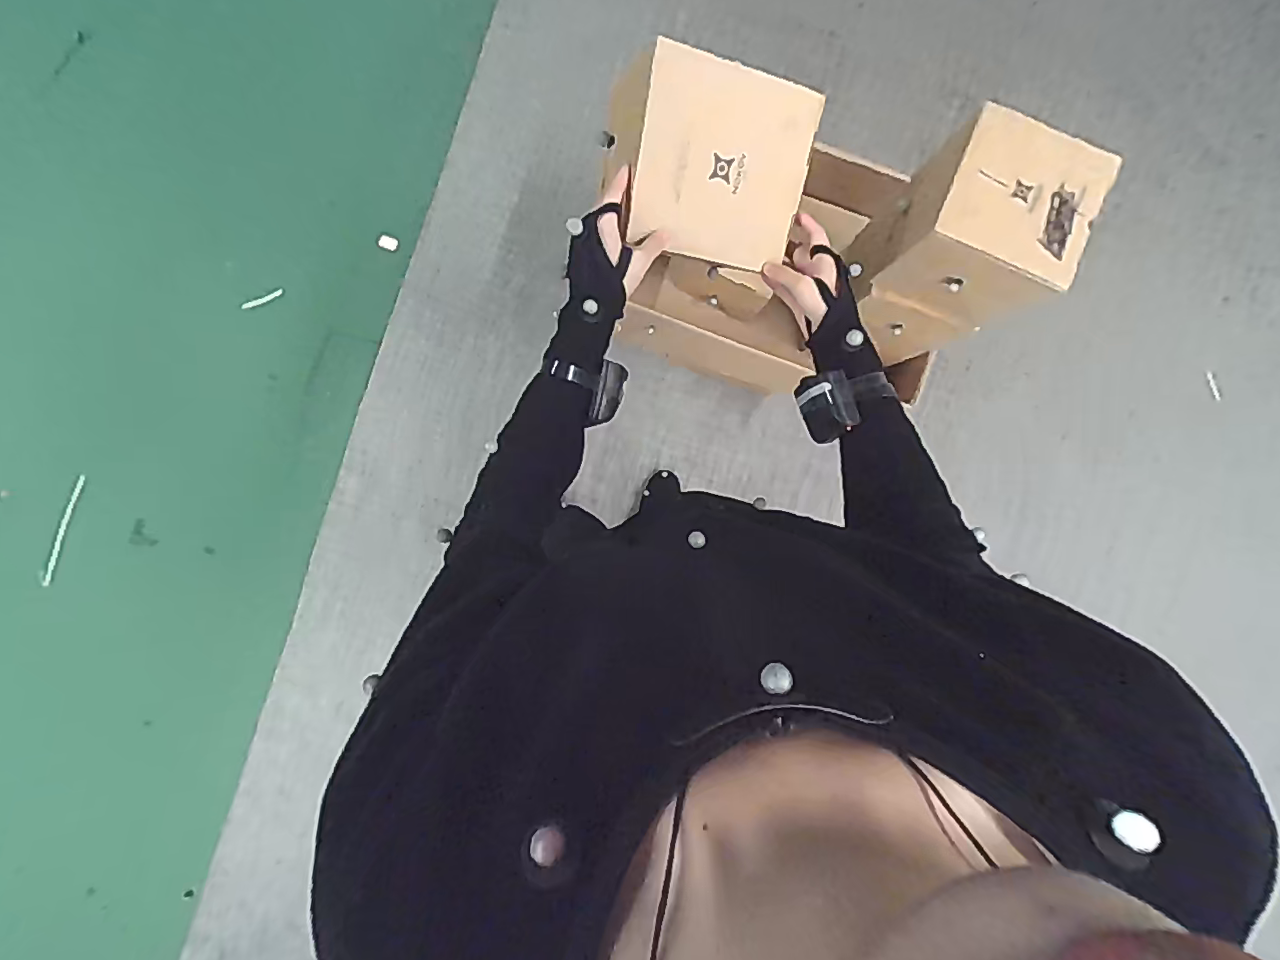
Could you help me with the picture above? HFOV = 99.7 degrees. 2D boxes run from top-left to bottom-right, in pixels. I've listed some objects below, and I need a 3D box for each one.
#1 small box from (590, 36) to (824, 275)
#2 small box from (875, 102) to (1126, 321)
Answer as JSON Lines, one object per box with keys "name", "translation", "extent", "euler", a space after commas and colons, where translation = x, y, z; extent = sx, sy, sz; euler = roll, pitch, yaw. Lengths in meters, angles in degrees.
{"name": "small box", "translation": [0.057, -0.329, 0.581], "extent": [0.179, 0.176, 0.168], "euler": [4, 113, -19]}
{"name": "small box", "translation": [0.444, -0.323, 0.695], "extent": [0.179, 0.176, 0.168], "euler": [23, 90, -1]}
